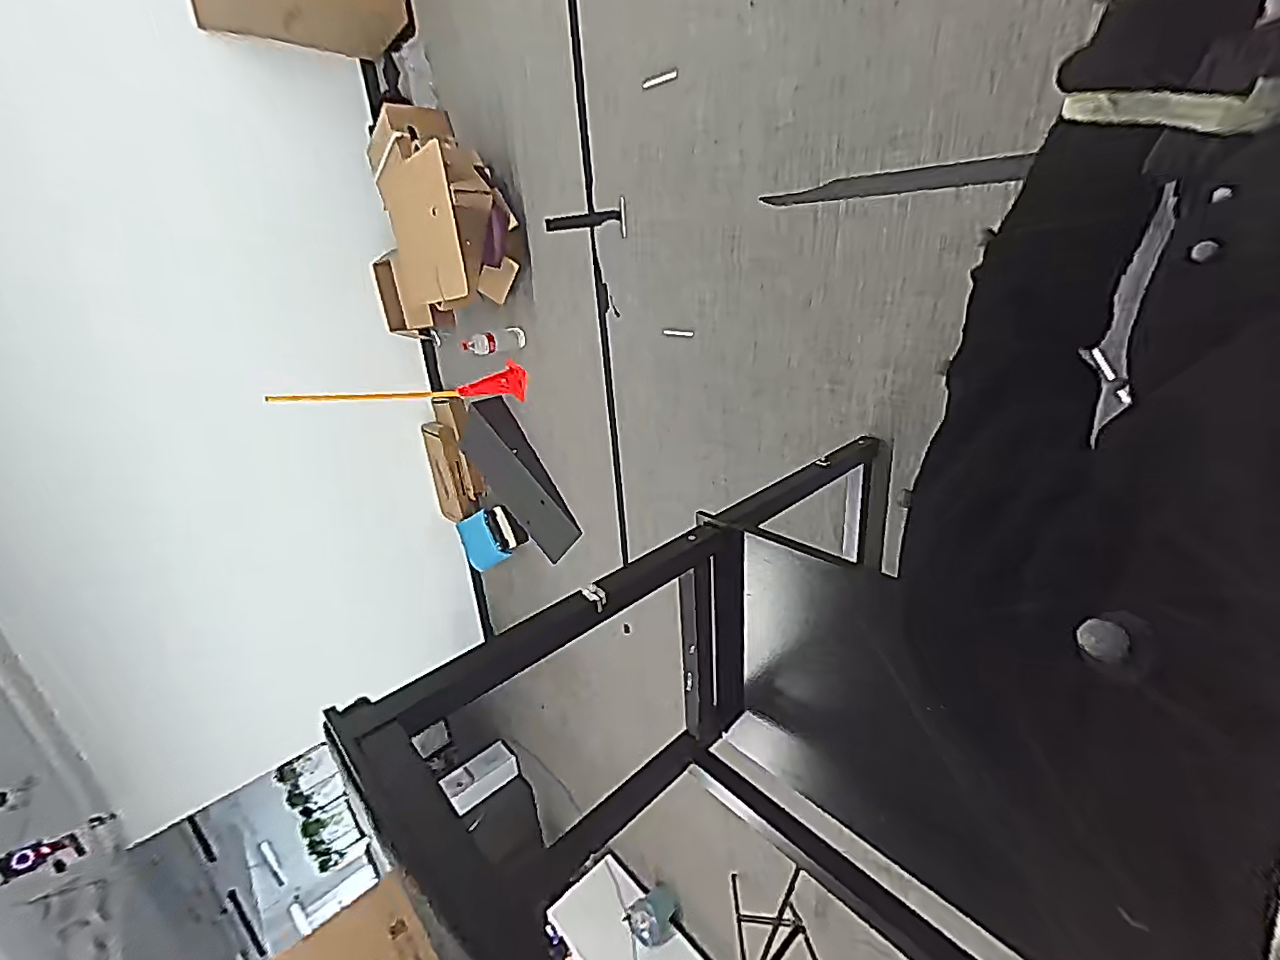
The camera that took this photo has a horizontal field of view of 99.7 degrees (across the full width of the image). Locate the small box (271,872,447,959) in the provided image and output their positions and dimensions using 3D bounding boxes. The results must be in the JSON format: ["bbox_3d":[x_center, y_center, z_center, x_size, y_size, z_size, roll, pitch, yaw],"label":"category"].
[{"bbox_3d":[-0.253,0.527,0.497,0.168,0.176,0.179,20,124,43],"label":"small box"}]
